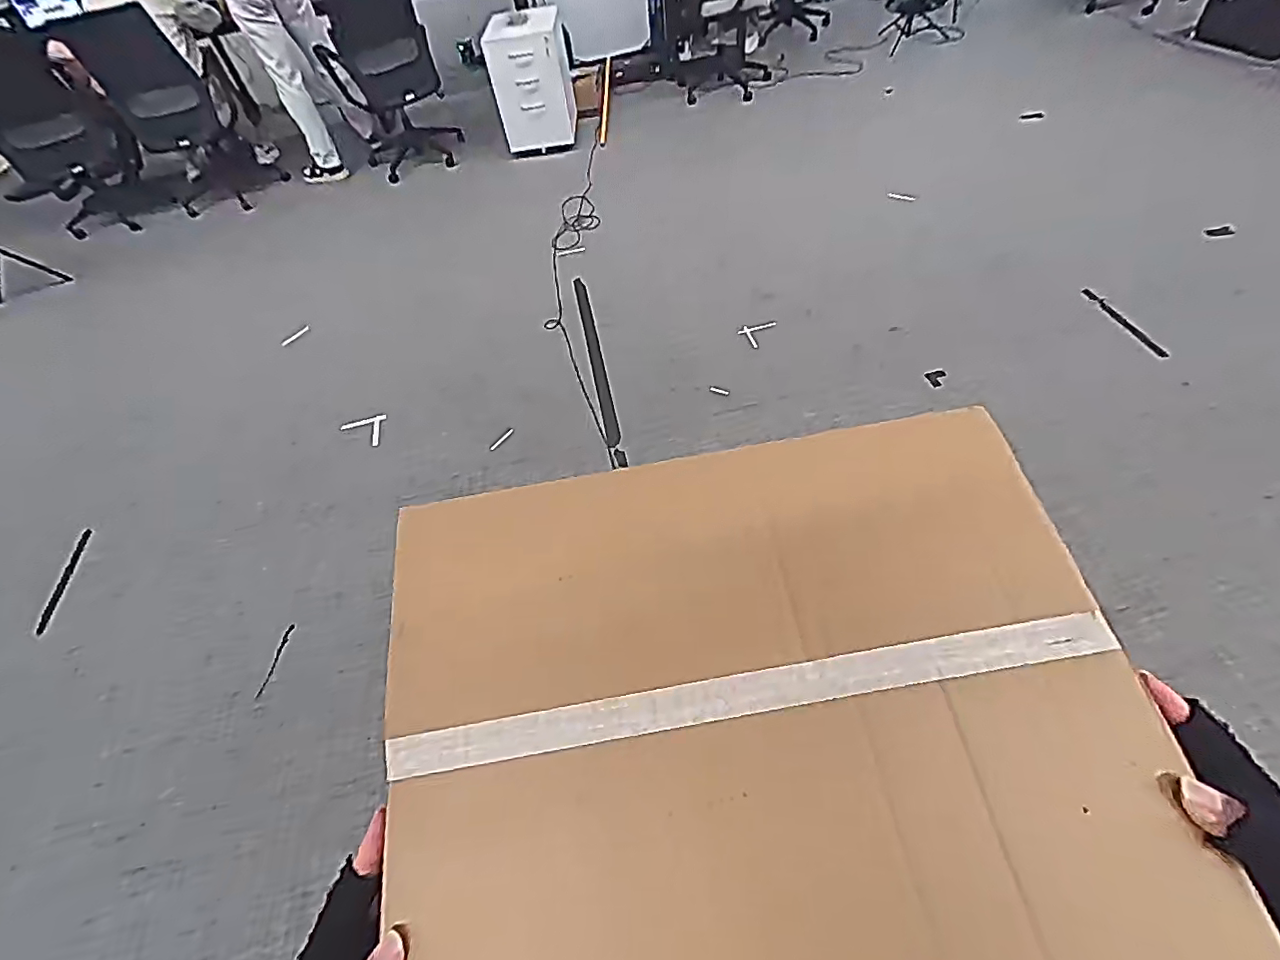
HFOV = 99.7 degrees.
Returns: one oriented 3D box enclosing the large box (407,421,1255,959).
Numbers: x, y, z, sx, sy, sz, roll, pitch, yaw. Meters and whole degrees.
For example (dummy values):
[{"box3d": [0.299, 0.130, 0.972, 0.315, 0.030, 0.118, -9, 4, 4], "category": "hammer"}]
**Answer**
[{"box3d": [0.074, 0.196, 0.445, 0.408, 0.320, 0.320, -11, 63, 0], "category": "large box"}]
